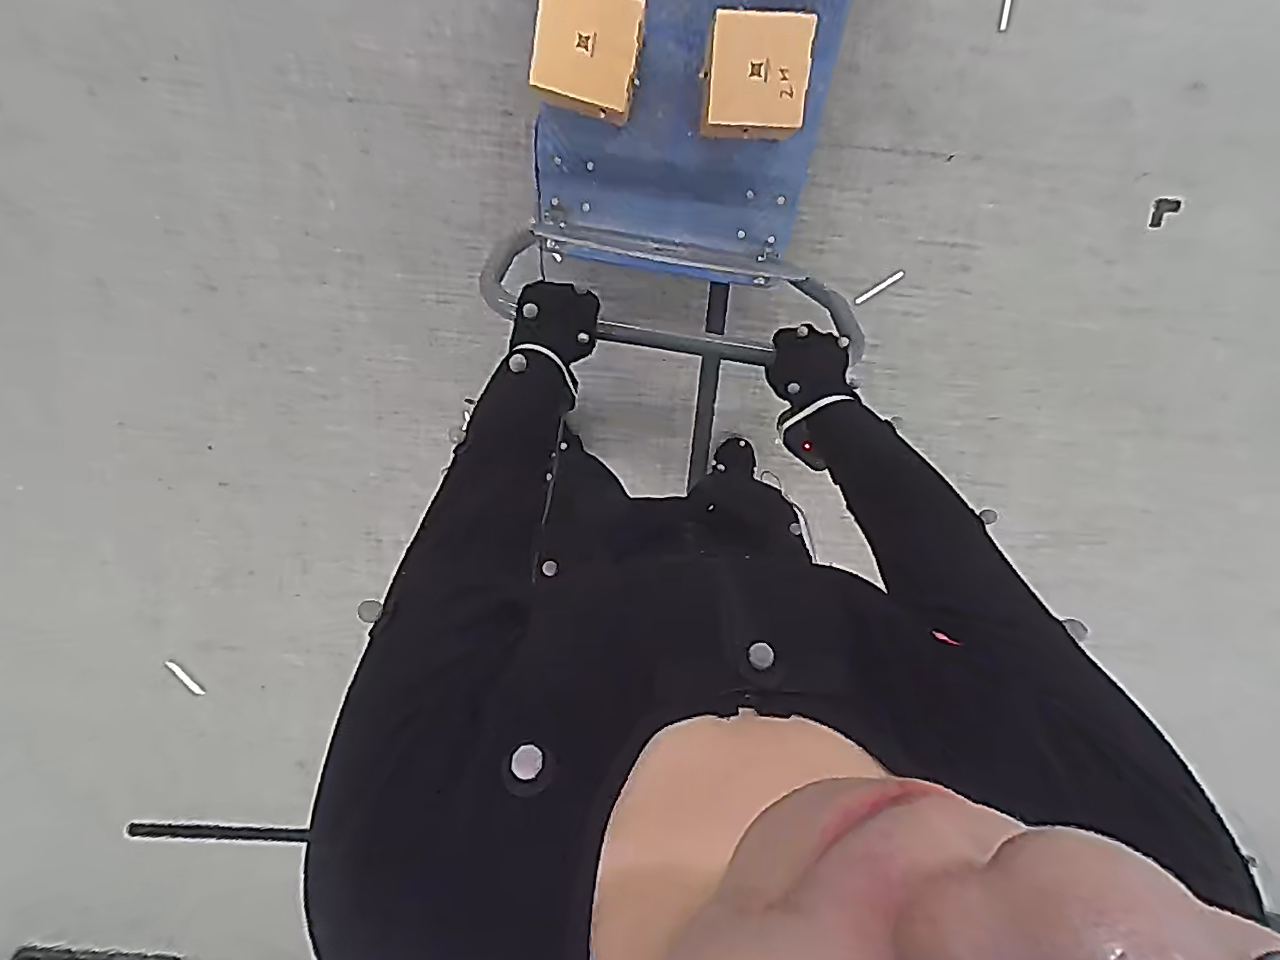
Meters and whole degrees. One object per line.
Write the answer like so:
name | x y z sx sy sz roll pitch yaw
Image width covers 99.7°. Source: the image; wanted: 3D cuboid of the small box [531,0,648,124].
small box | -0.092 -0.788 1.007 0.179 0.176 0.168 12 115 -7

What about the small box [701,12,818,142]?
small box | 0.214 -0.749 1.023 0.179 0.176 0.168 3 116 -1
